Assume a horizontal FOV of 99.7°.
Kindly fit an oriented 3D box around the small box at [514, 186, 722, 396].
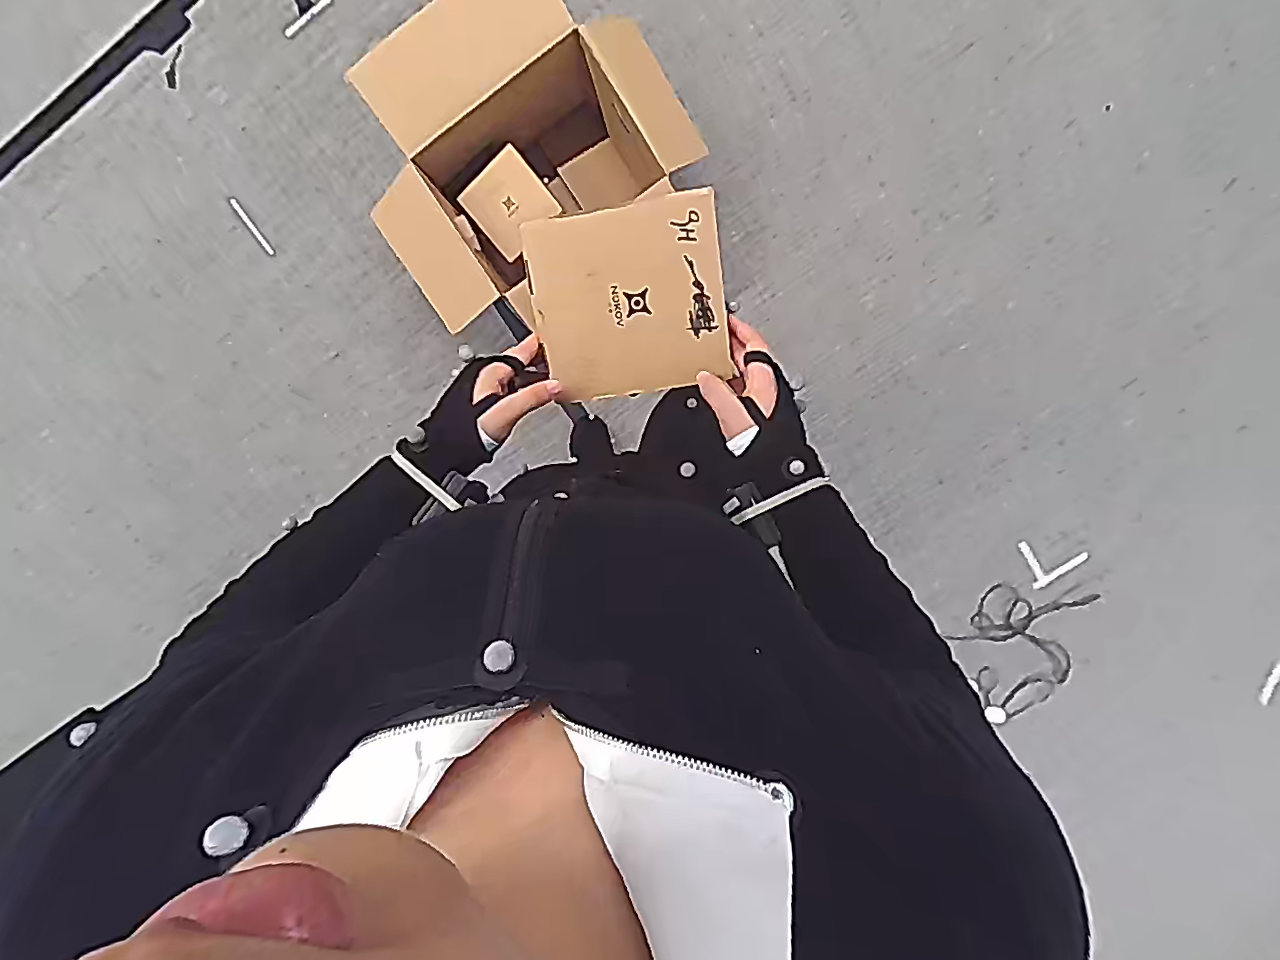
[{"bbox_3d":[-0.010,-0.191,0.573,0.179,0.176,0.168,-7,108,8],"label":"small box"}]
